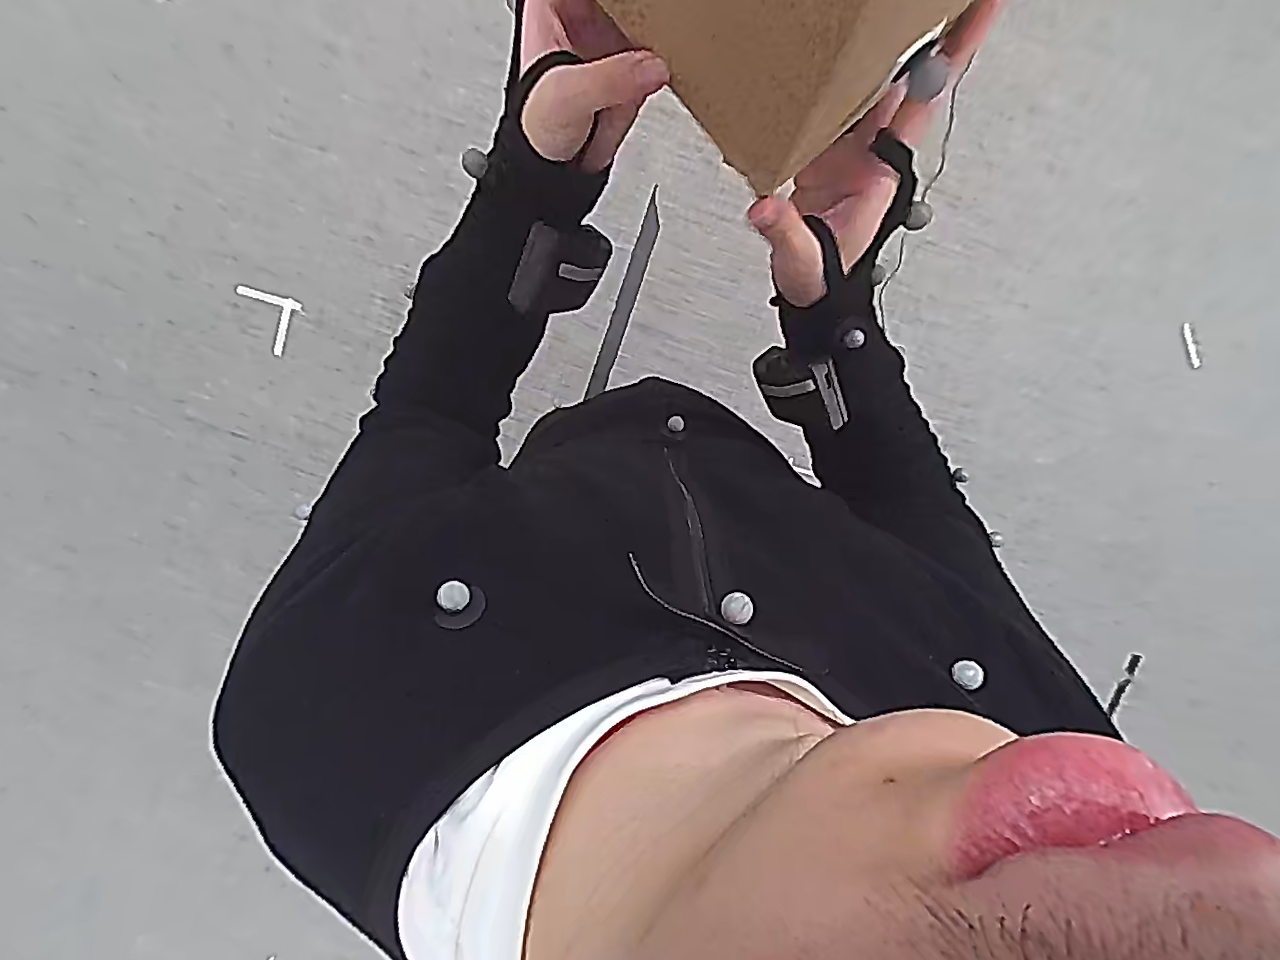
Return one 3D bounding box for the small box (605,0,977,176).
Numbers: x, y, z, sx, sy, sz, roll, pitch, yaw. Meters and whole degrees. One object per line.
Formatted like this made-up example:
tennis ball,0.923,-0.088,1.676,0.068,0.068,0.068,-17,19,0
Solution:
small box,0.063,-0.246,0.179,0.168,0.176,0.179,-43,97,11
